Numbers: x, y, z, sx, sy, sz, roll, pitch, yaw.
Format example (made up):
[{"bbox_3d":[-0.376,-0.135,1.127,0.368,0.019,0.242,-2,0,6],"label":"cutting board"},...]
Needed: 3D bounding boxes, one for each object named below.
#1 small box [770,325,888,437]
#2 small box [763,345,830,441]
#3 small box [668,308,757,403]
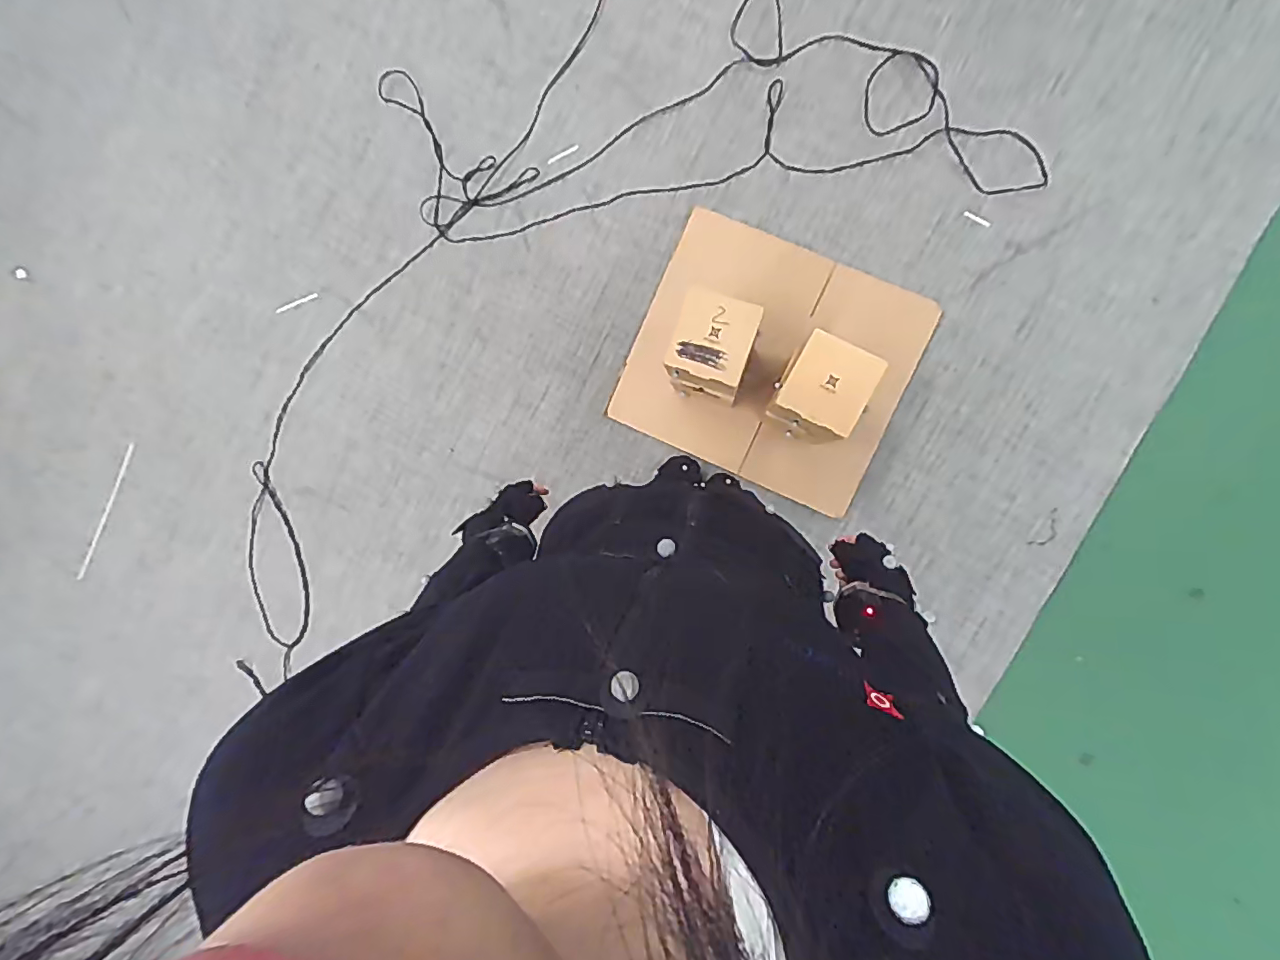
[{"bbox_3d":[0.397,-0.207,1.173,0.168,0.176,0.179,28,96,6],"label":"small box"},{"bbox_3d":[0.414,-0.208,1.335,0.168,0.176,0.179,25,96,7],"label":"small box"},{"bbox_3d":[0.182,-0.303,1.357,0.168,0.176,0.179,20,95,6],"label":"small box"}]
